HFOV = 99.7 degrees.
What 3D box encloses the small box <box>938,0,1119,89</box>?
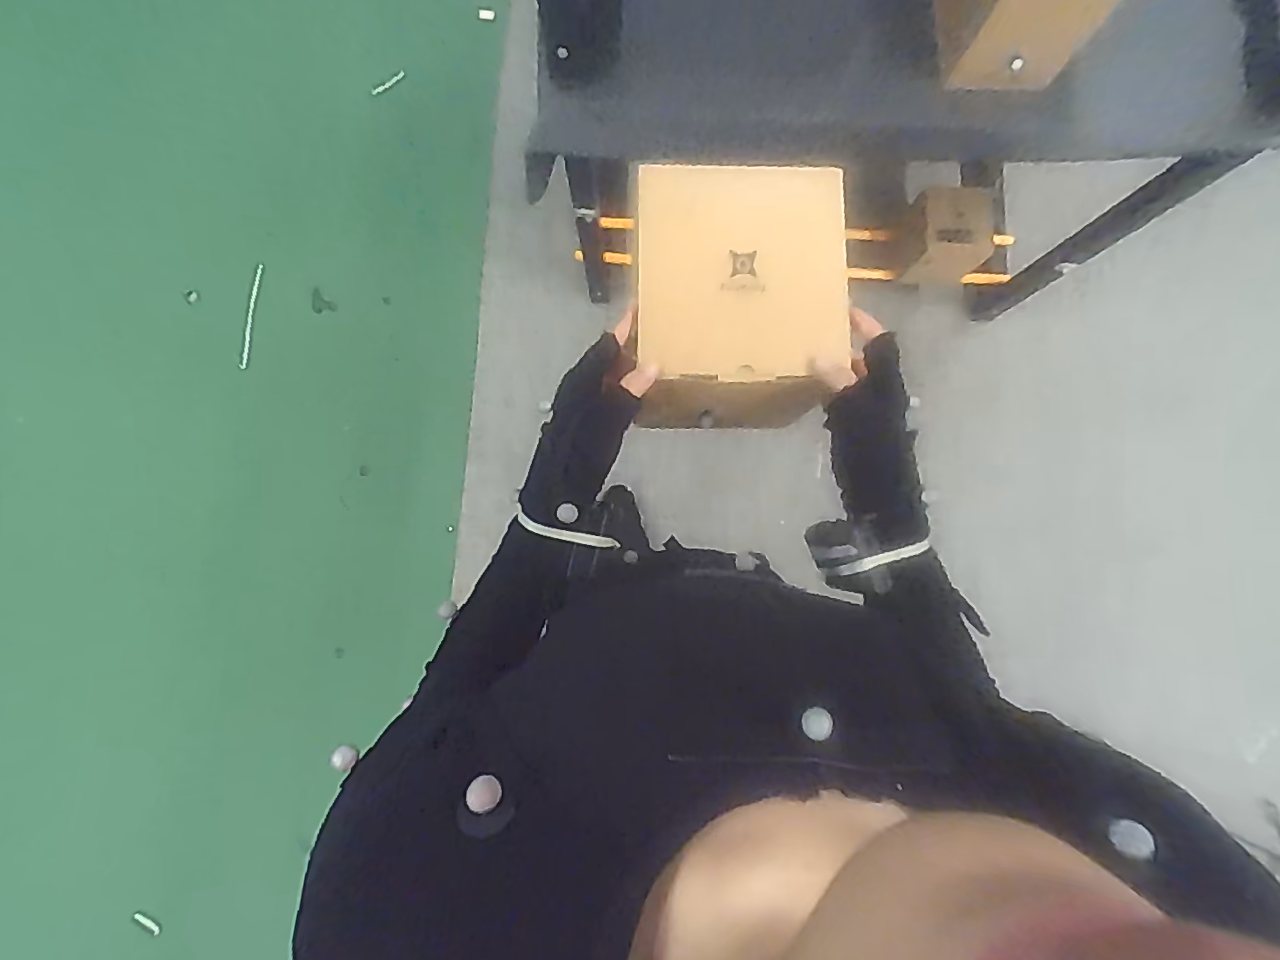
[{"bbox_3d":[0.562,-0.720,0.789,0.168,0.176,0.179,0,82,0],"label":"small box"}]
